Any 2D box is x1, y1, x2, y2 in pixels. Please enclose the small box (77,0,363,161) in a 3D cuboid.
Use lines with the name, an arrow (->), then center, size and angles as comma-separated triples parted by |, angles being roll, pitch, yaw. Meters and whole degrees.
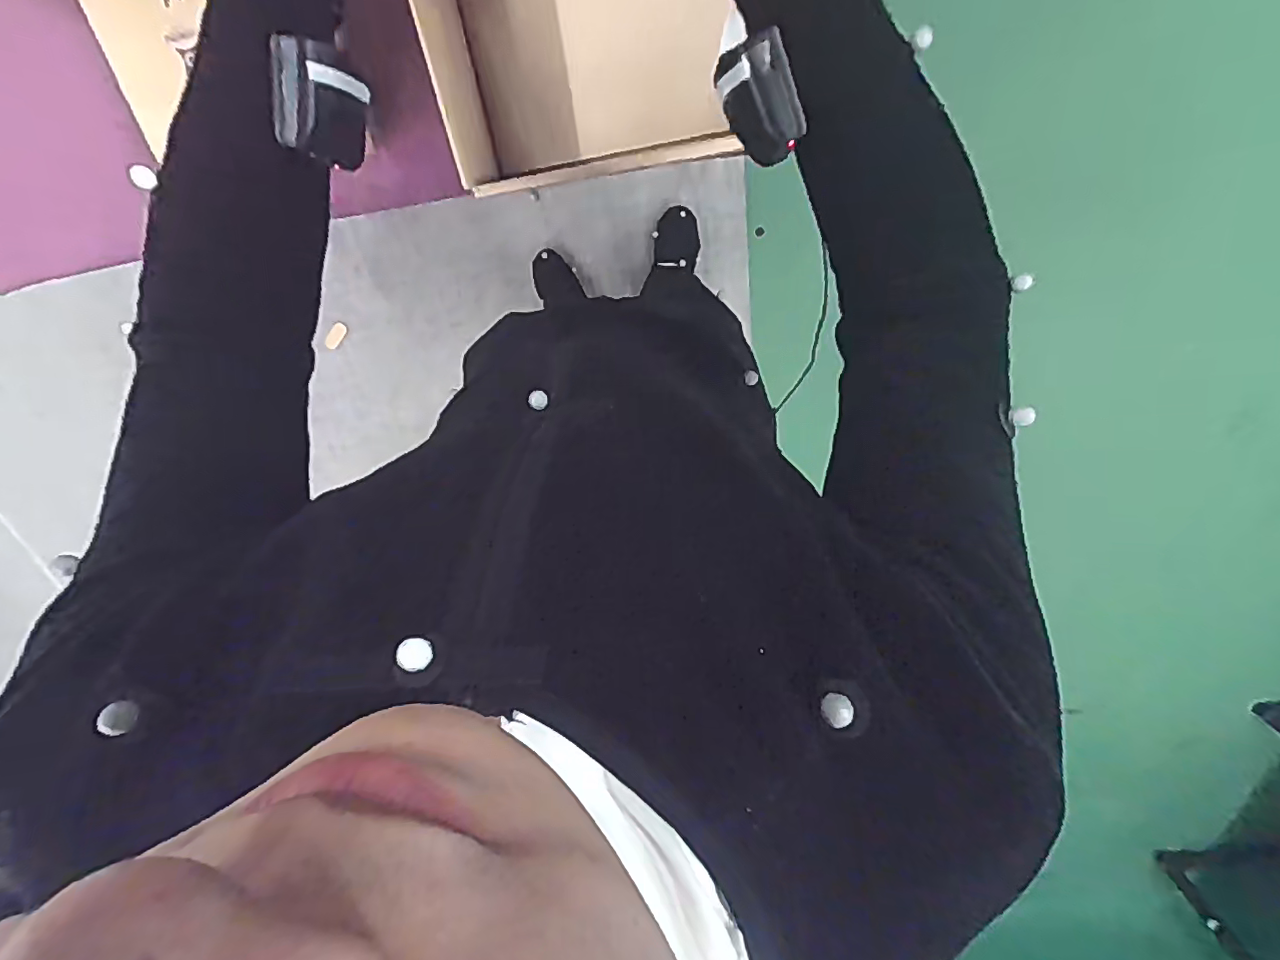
small box -> -0.439, -0.459, 0.591 | 0.168, 0.176, 0.179 | -8, 118, 2
